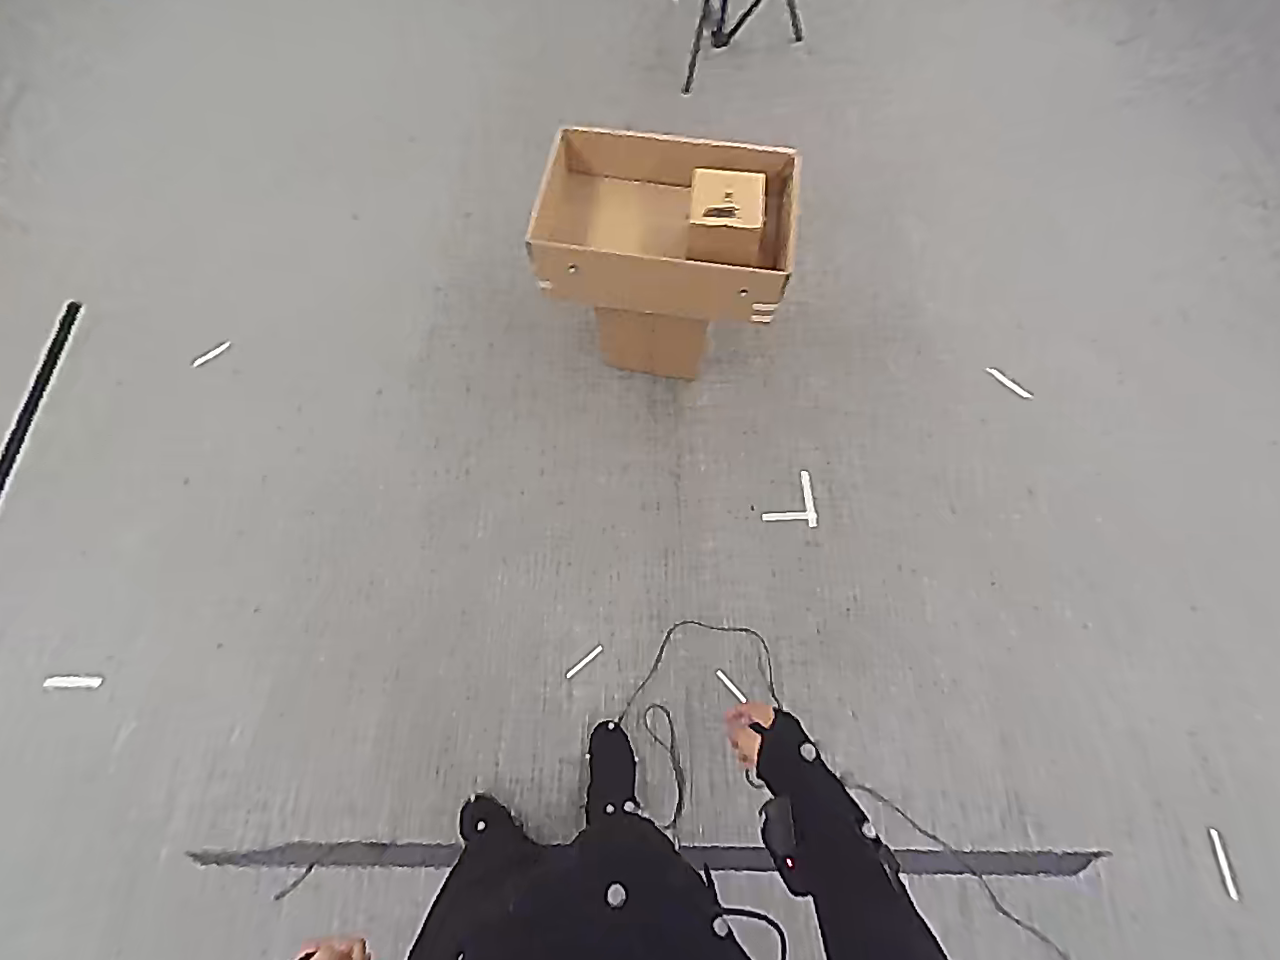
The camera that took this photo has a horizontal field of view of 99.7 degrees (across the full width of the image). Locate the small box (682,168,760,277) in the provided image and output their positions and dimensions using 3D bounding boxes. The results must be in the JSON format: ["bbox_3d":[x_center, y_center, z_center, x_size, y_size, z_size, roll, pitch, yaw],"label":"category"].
[{"bbox_3d":[0.194,-0.622,1.318,0.168,0.176,0.179,6,68,2],"label":"small box"}]
